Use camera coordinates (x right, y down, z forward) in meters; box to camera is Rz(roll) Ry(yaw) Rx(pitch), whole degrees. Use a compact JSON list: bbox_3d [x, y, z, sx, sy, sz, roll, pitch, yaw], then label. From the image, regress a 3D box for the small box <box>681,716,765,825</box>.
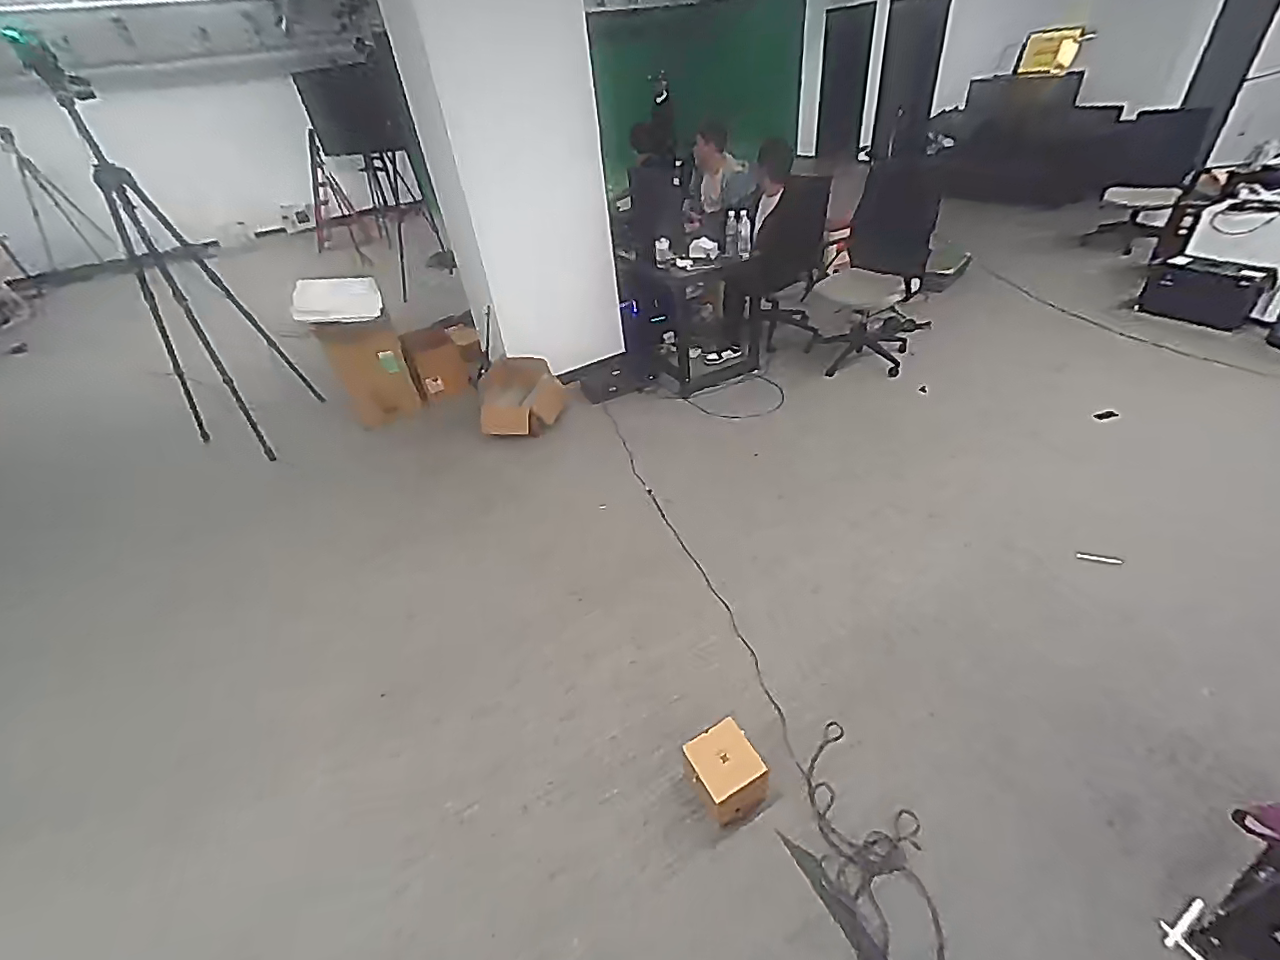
[{"bbox_3d":[0.228,0.806,1.499,0.168,0.176,0.179,-23,40,-17],"label":"small box"}]
